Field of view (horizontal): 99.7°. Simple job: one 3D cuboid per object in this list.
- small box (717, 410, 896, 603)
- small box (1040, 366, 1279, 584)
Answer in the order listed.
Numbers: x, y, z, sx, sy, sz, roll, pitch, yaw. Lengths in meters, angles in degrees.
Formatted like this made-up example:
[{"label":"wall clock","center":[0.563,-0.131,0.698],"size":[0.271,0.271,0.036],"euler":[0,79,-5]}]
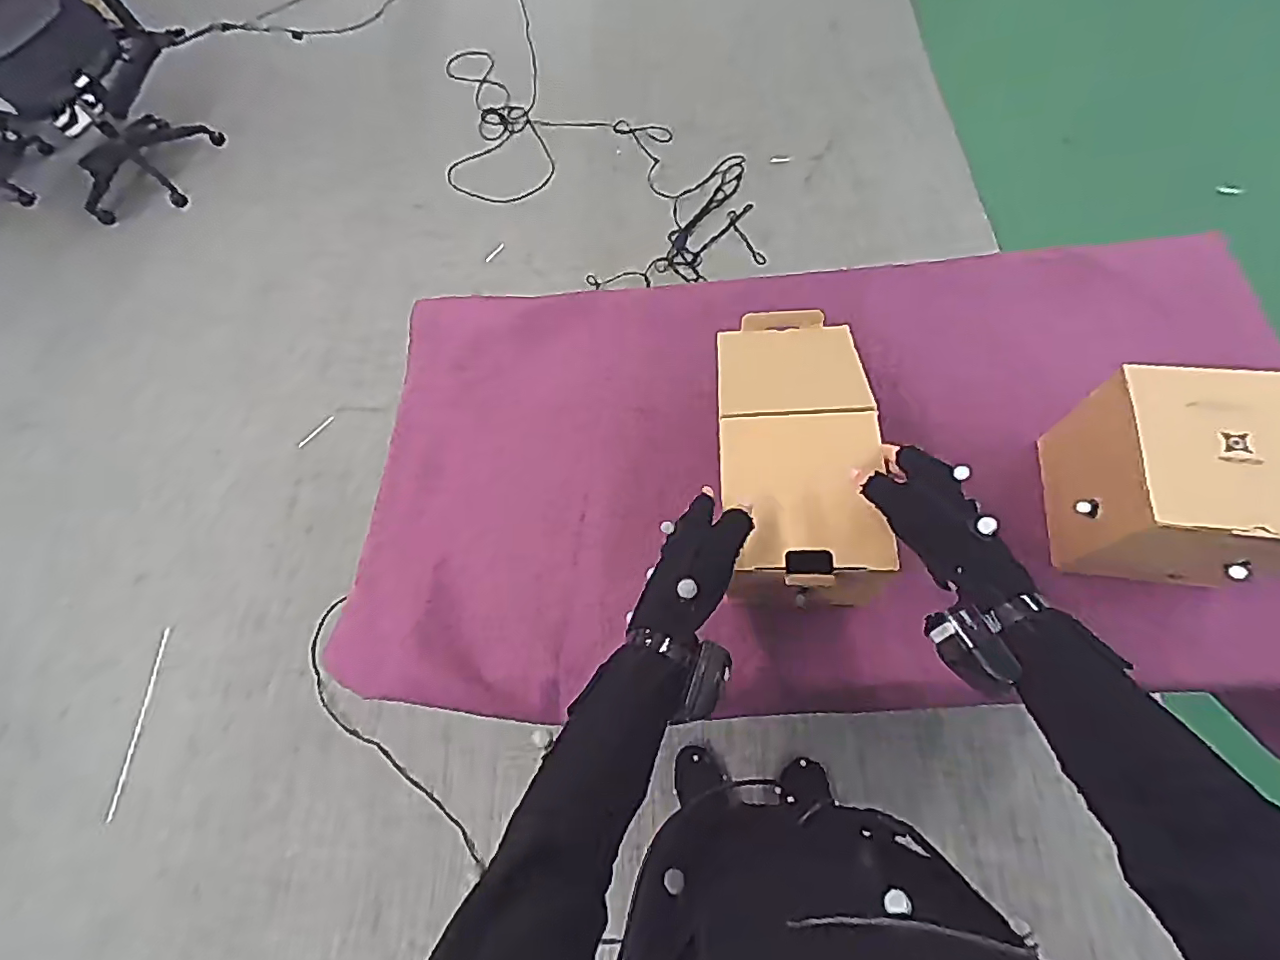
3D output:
[{"label":"small box","center":[0.176,0.040,0.616],"size":[0.168,0.176,0.179],"euler":[-2,66,10]},{"label":"small box","center":[0.564,0.003,0.575],"size":[0.168,0.176,0.179],"euler":[6,67,11]}]
